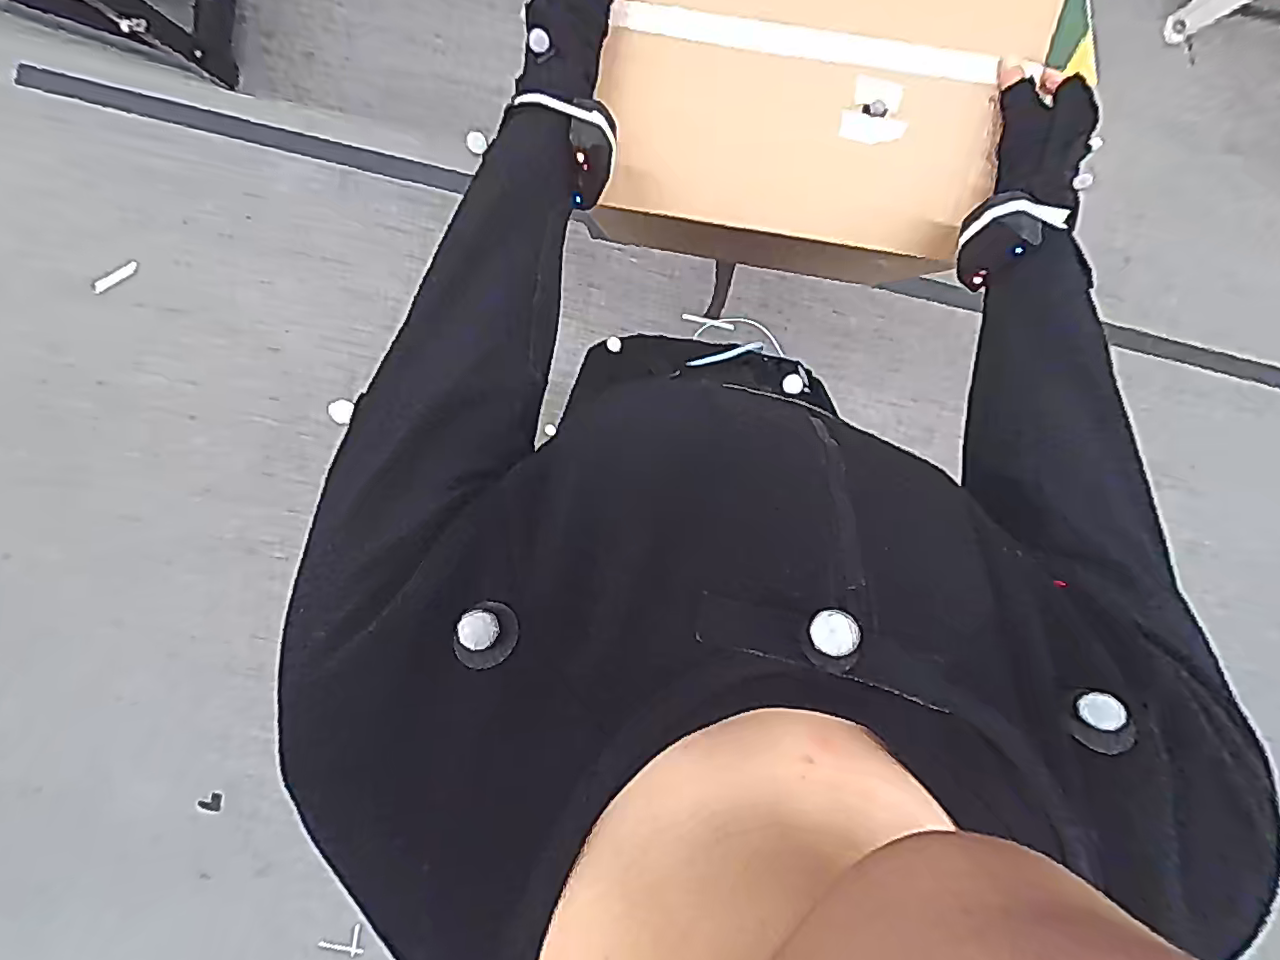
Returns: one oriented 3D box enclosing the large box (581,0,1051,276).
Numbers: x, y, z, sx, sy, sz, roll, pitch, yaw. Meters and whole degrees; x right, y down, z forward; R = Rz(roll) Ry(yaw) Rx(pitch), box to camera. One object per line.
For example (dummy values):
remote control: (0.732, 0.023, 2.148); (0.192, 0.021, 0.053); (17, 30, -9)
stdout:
large box: (0.163, -0.441, 0.638); (0.408, 0.320, 0.320); (10, 108, 0)
